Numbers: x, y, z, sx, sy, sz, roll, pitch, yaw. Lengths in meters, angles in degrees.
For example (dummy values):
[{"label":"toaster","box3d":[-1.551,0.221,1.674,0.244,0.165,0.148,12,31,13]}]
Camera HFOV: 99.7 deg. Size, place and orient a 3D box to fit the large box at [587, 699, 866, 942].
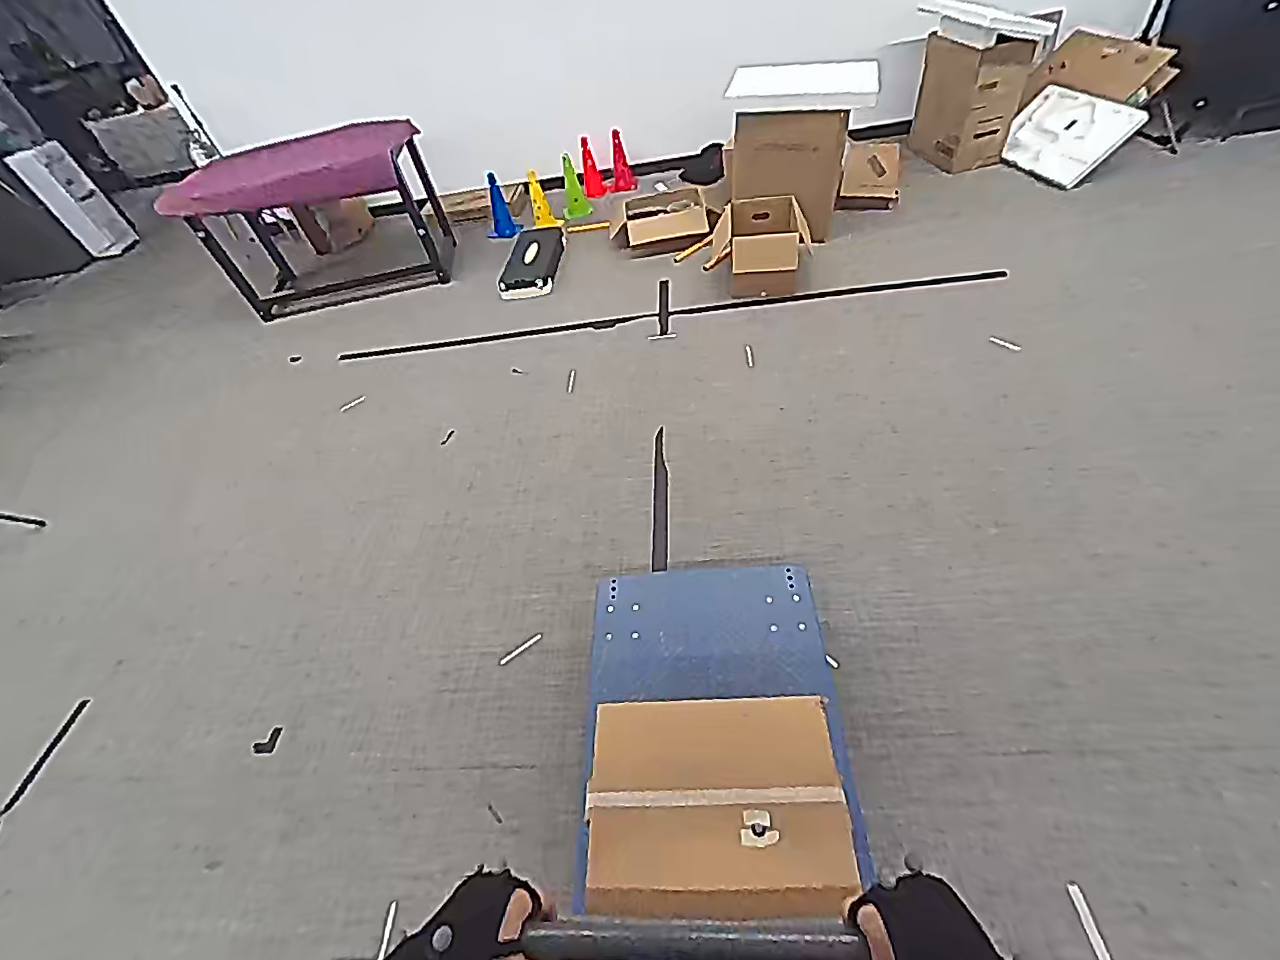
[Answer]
[{"label":"large box","box3d":[0.135,0.616,0.971,0.408,0.320,0.320,-5,48,6]}]
